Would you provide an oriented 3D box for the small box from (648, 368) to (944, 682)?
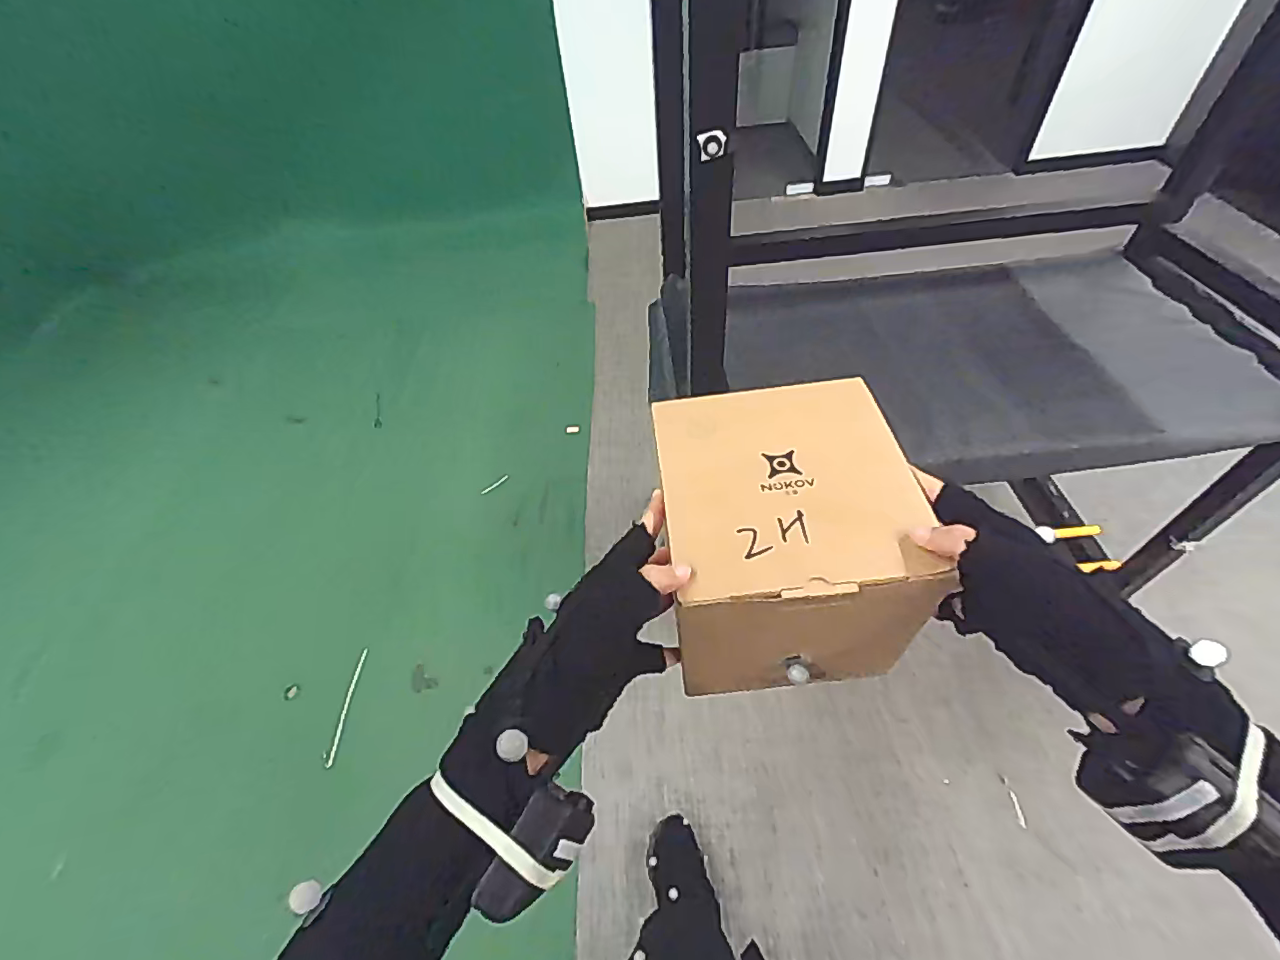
[{"bbox_3d":[0.097,0.038,0.428,0.168,0.176,0.179,-7,50,2],"label":"small box"}]
